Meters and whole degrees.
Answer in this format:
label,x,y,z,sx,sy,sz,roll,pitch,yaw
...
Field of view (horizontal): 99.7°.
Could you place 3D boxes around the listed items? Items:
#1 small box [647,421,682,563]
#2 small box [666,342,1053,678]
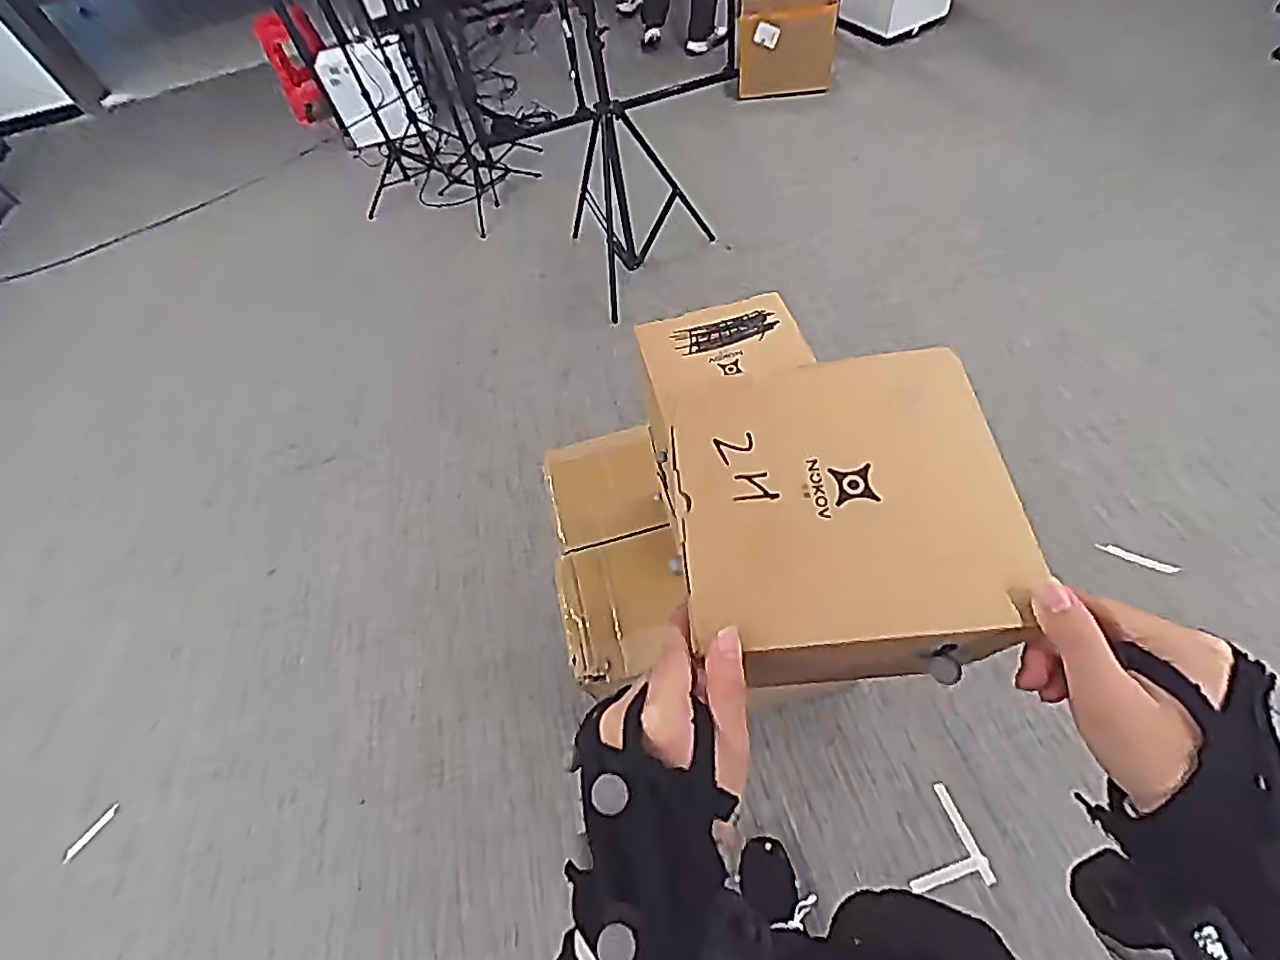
label,x,y,z,sx,sy,sz,roll,pitch,yaw
small box,0.120,0.015,0.755,0.179,0.176,0.168,-15,56,-1
small box,0.116,0.034,0.367,0.179,0.176,0.168,-7,62,6
